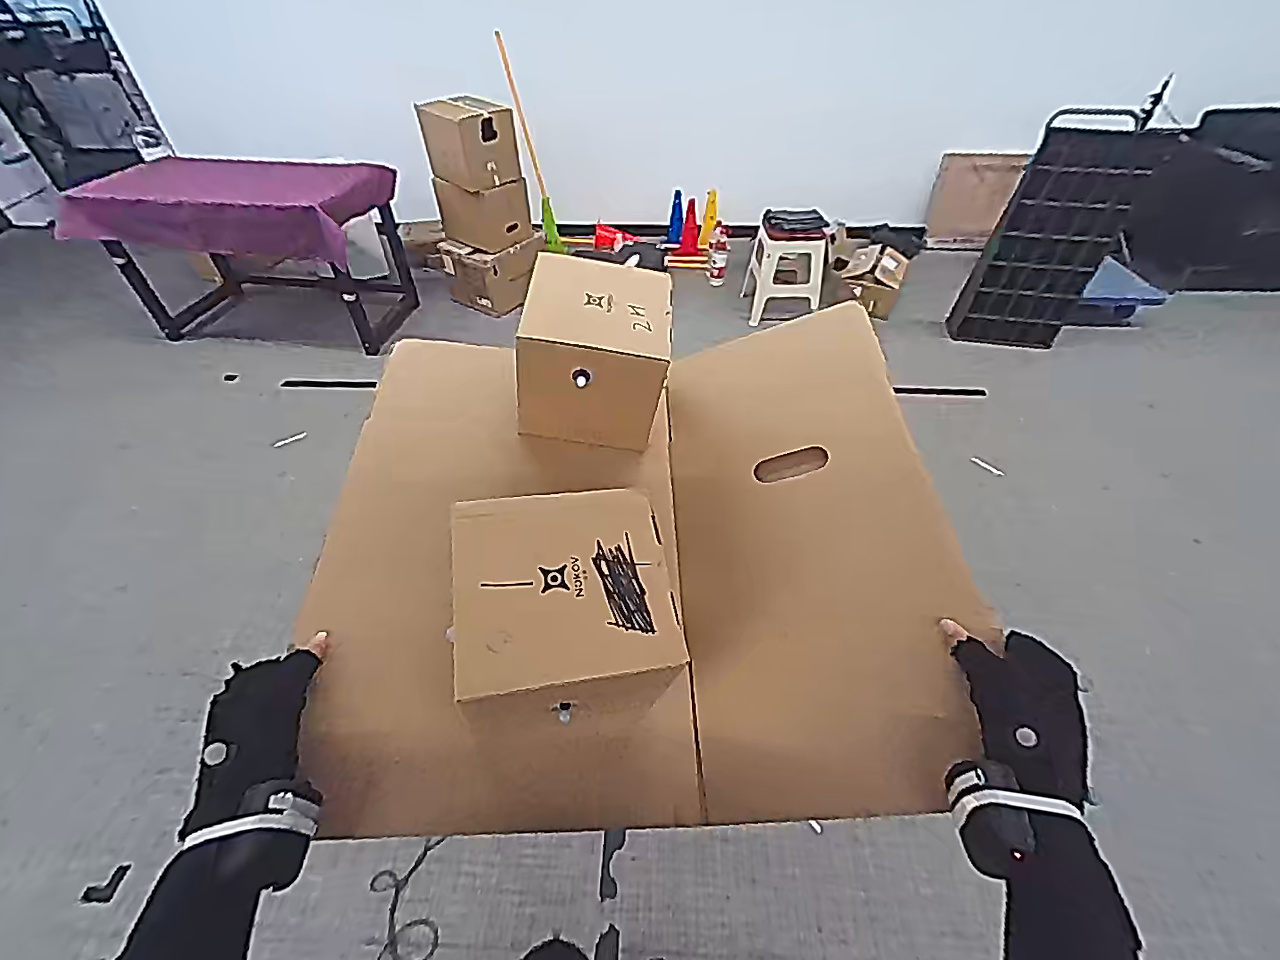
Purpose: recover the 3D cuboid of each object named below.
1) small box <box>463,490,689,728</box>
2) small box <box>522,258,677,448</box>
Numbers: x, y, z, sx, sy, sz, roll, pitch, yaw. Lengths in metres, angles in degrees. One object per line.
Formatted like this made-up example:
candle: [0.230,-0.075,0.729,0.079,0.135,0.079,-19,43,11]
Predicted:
small box: [-0.071,0.126,0.519,0.179,0.176,0.168,-4,57,-14]
small box: [-0.055,-0.162,0.722,0.179,0.176,0.168,9,55,-6]
